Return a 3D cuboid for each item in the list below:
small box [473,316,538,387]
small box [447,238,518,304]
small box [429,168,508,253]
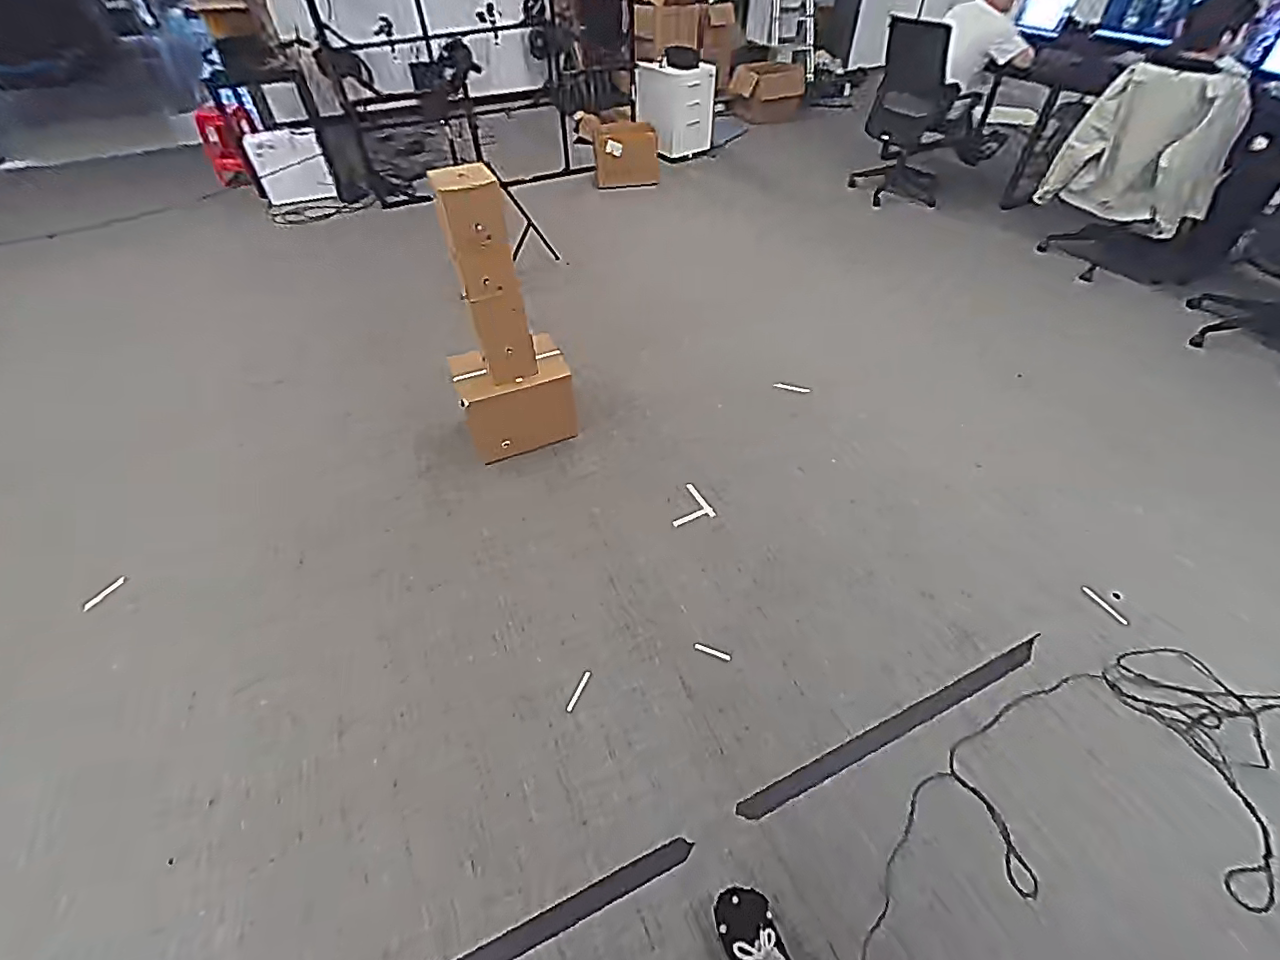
[{"bbox_3d":[-0.486,-0.464,1.967,0.179,0.176,0.168,-20,51,-18],"label":"small box"},{"bbox_3d":[-0.504,-0.689,1.730,0.168,0.176,0.179,-21,51,-17],"label":"small box"},{"bbox_3d":[-0.509,-0.802,1.610,0.168,0.176,0.179,-22,52,-17],"label":"small box"}]
